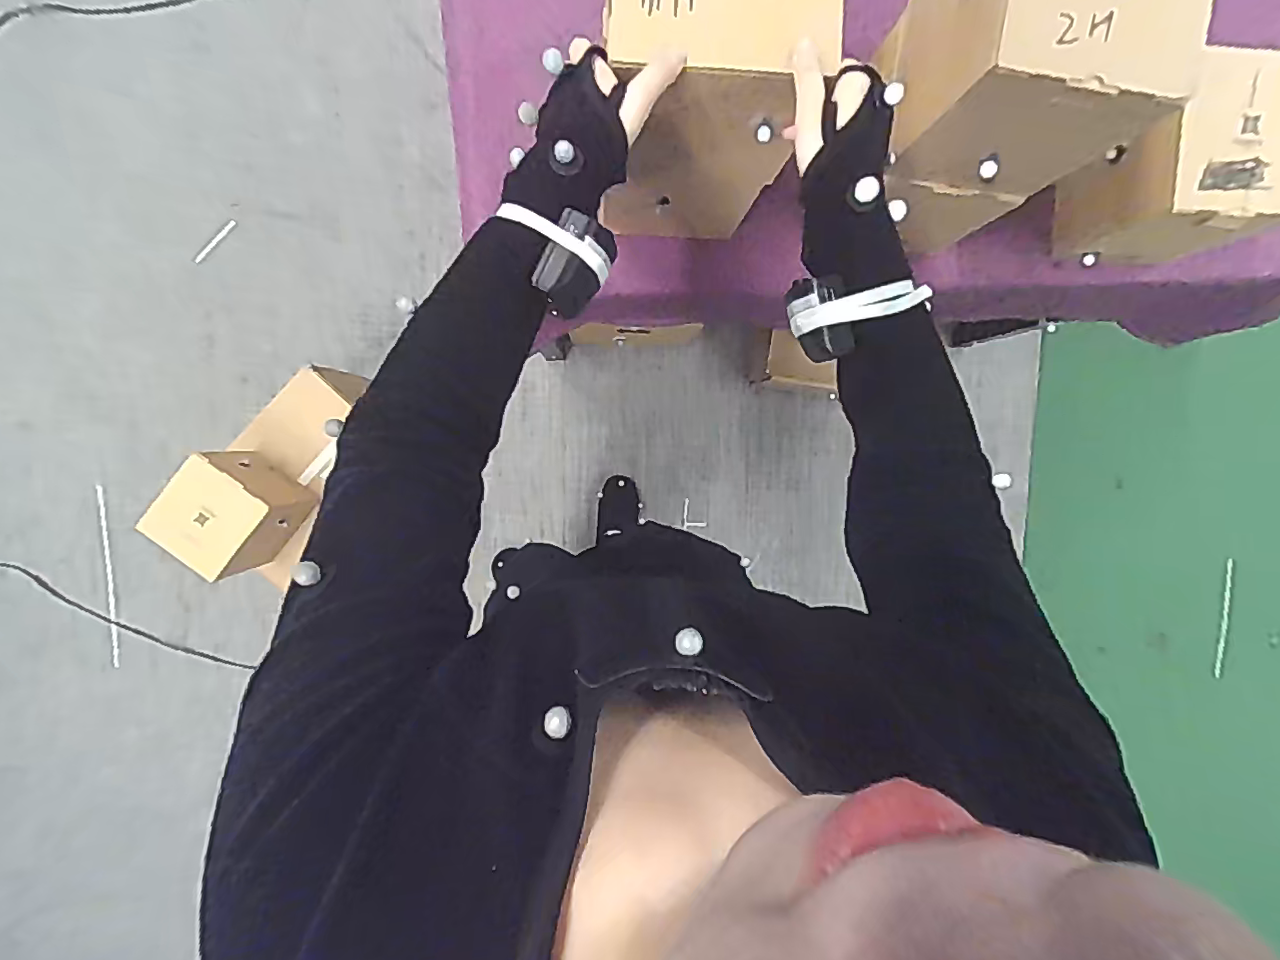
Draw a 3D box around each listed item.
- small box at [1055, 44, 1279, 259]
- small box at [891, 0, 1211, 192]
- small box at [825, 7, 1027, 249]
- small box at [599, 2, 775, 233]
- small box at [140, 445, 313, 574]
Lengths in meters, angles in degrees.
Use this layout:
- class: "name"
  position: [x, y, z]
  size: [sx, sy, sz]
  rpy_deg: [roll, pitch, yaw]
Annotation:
- class: "small box"
  position: [0.662, -0.389, 0.672]
  size: [0.168, 0.176, 0.179]
  rpy_deg: [1, 94, -3]
- class: "small box"
  position: [0.354, -0.396, 0.489]
  size: [0.168, 0.176, 0.179]
  rpy_deg: [7, 95, -4]
- class: "small box"
  position: [0.342, -0.405, 0.653]
  size: [0.168, 0.176, 0.179]
  rpy_deg: [6, 96, -4]
- class: "small box"
  position: [0.045, -0.404, 0.633]
  size: [0.179, 0.176, 0.168]
  rpy_deg: [1, 96, -3]
- class: "small box"
  position: [-0.776, 0.046, 1.042]
  size: [0.168, 0.176, 0.179]
  rpy_deg: [39, 92, -4]
